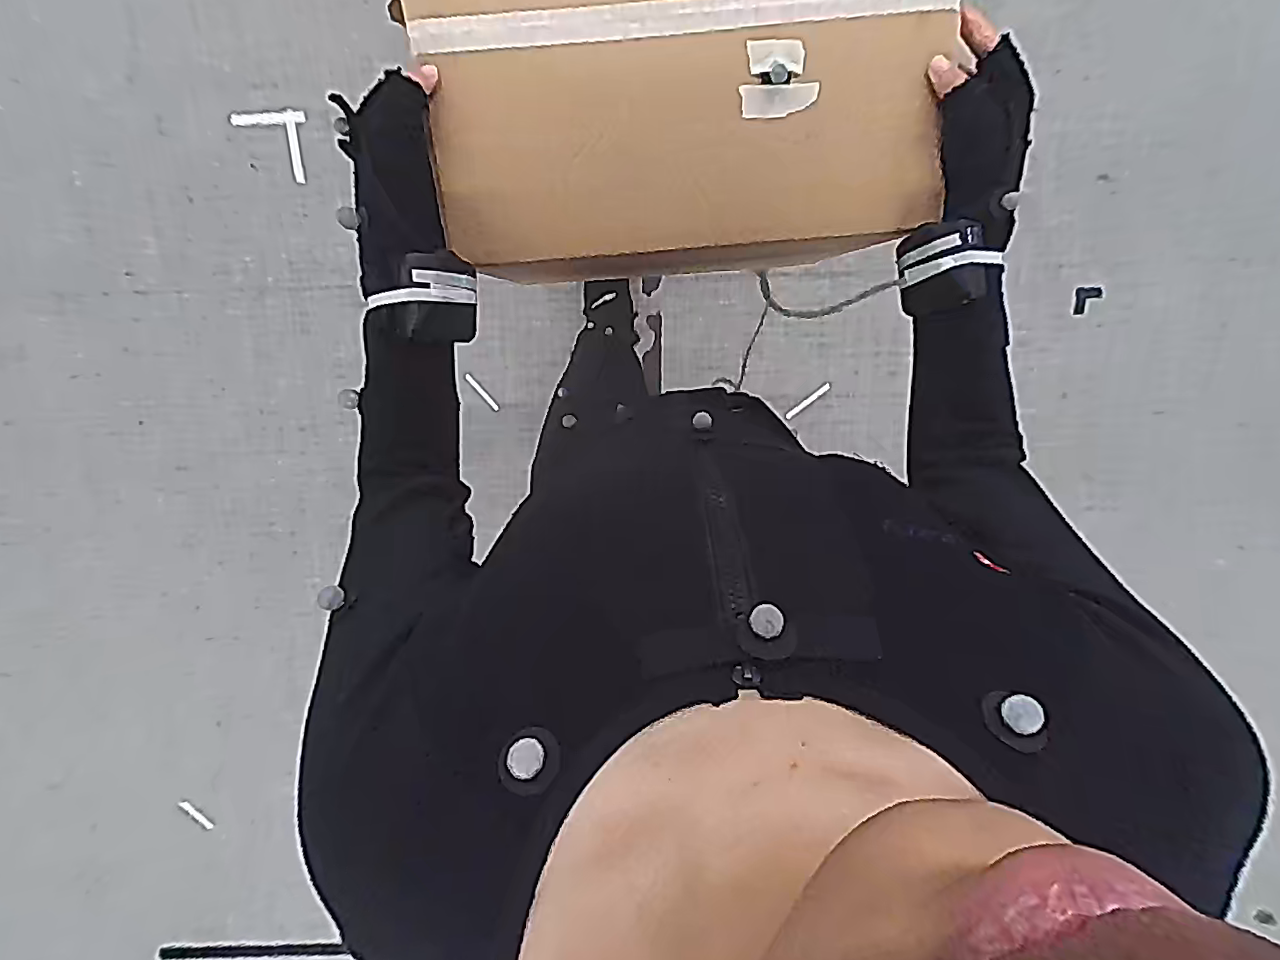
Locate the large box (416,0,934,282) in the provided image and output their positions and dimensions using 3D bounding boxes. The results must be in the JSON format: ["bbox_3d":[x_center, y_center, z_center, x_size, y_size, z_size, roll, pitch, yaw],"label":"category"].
[{"bbox_3d":[0.024,-0.396,0.559,0.408,0.320,0.320,-5,108,-1],"label":"large box"}]
